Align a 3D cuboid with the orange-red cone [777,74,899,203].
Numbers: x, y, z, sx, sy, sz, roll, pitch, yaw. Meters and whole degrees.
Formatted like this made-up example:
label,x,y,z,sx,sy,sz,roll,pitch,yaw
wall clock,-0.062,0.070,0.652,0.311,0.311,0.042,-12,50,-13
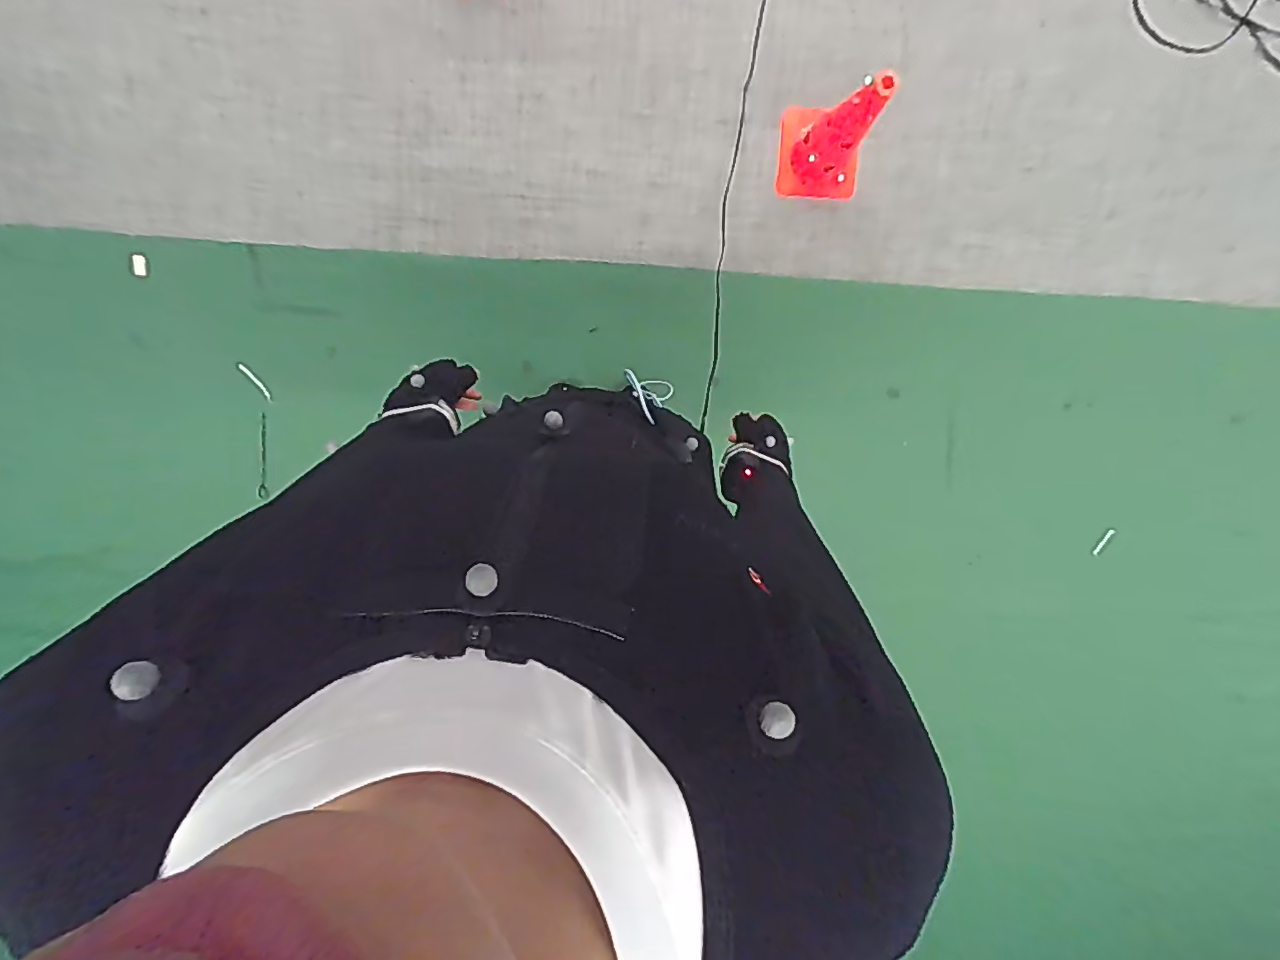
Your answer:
label,x,y,z,sx,sy,sz,roll,pitch,yaw
orange-red cone,0.452,-0.768,1.171,0.198,0.360,0.199,3,101,-4
